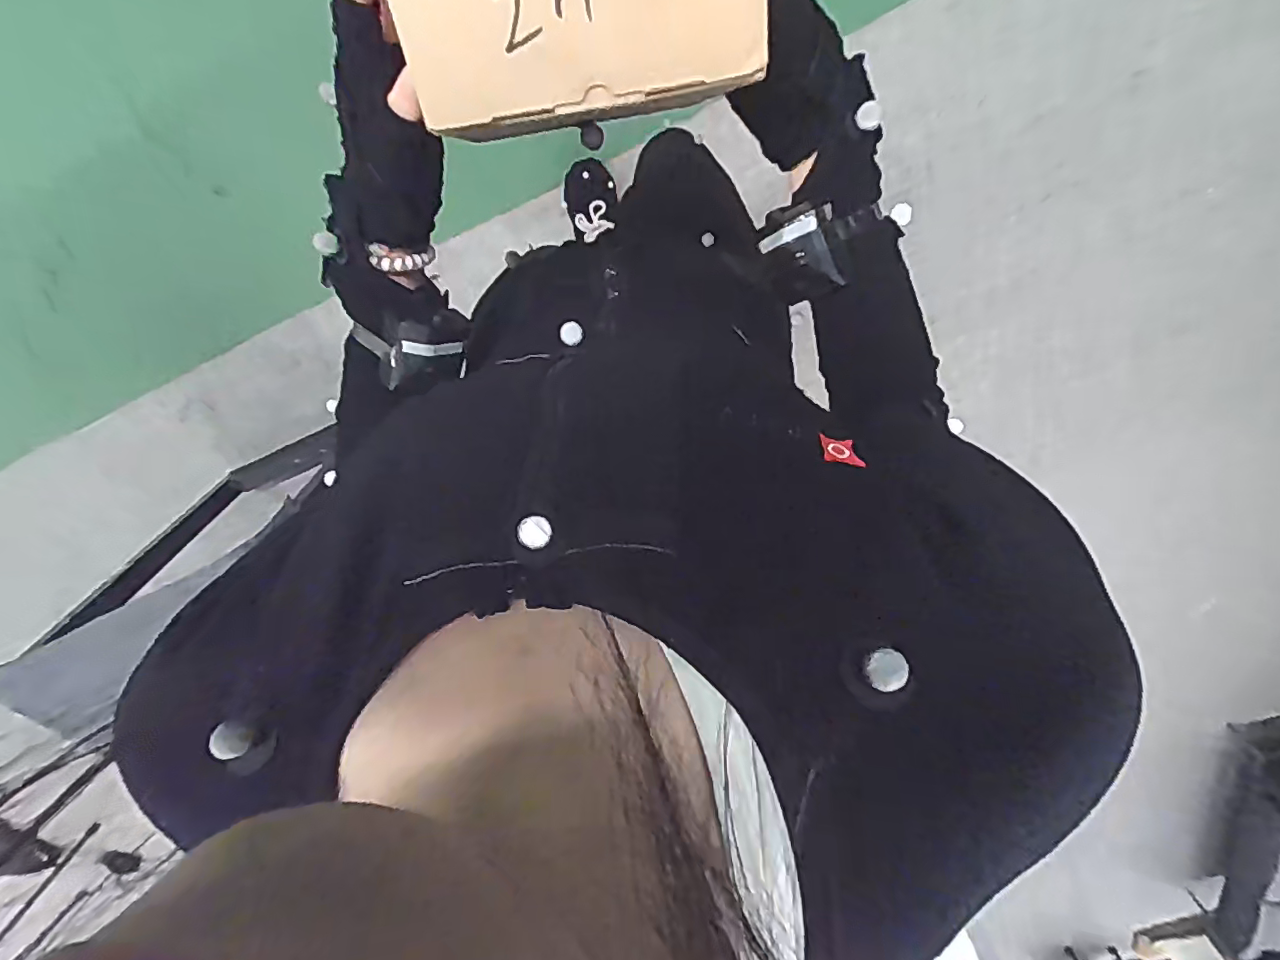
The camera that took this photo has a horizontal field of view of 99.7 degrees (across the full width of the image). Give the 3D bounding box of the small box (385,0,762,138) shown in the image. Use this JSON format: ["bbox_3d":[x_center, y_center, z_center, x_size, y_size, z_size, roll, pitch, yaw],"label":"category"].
[{"bbox_3d":[-0.044,-0.292,0.278,0.168,0.176,0.179,-11,122,-1],"label":"small box"}]
